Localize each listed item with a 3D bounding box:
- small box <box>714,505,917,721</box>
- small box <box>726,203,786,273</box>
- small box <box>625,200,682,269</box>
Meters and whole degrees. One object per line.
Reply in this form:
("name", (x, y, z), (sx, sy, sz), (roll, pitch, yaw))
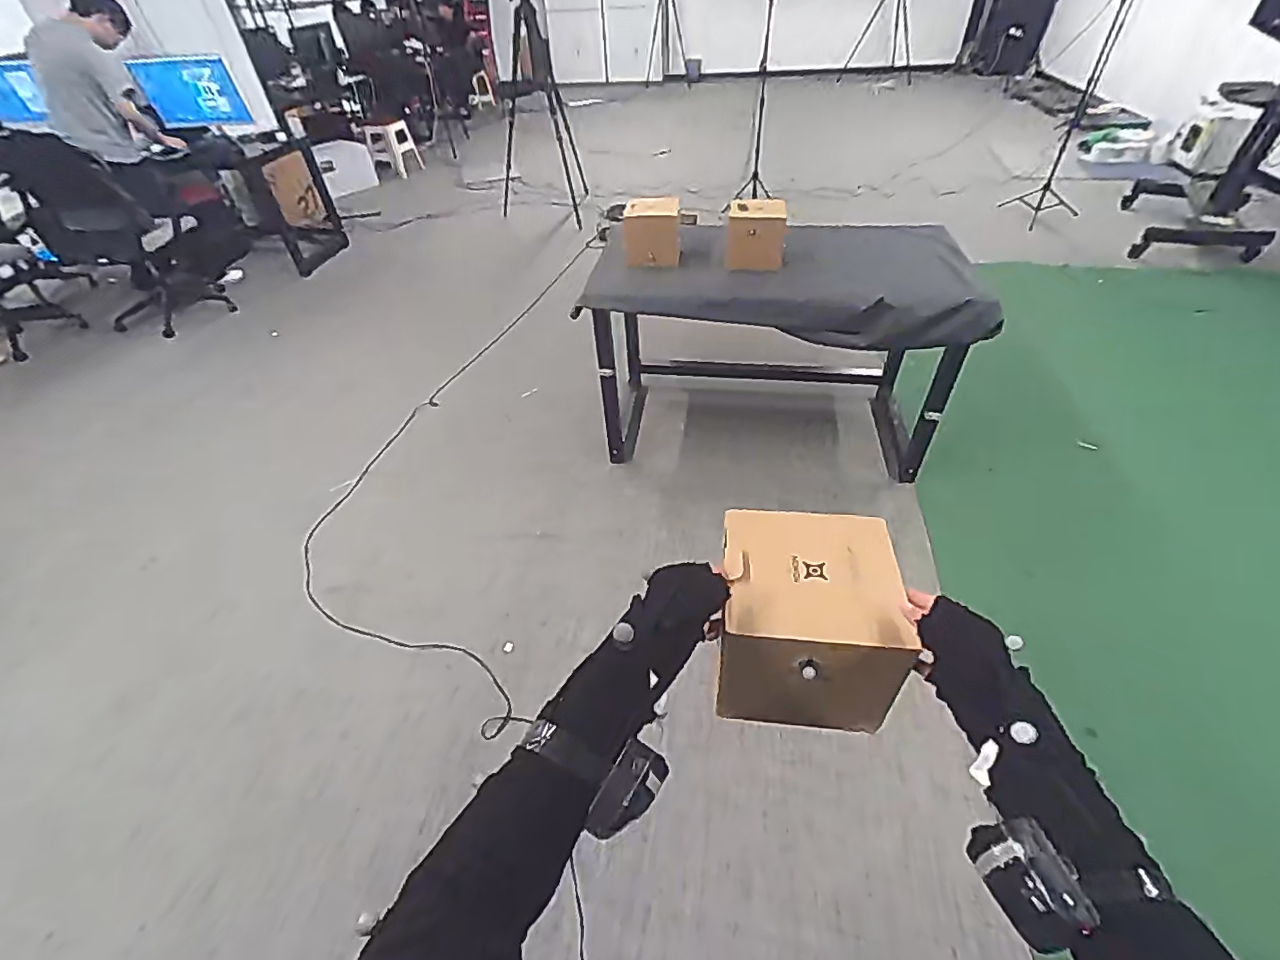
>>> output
("small box", (0.175, 0.148, 0.603), (0.179, 0.176, 0.168), (4, 43, 6))
("small box", (0.376, -0.791, 1.766), (0.179, 0.176, 0.168), (5, 45, 8))
("small box", (0.047, -0.824, 1.821), (0.179, 0.176, 0.168), (3, 44, 5))
